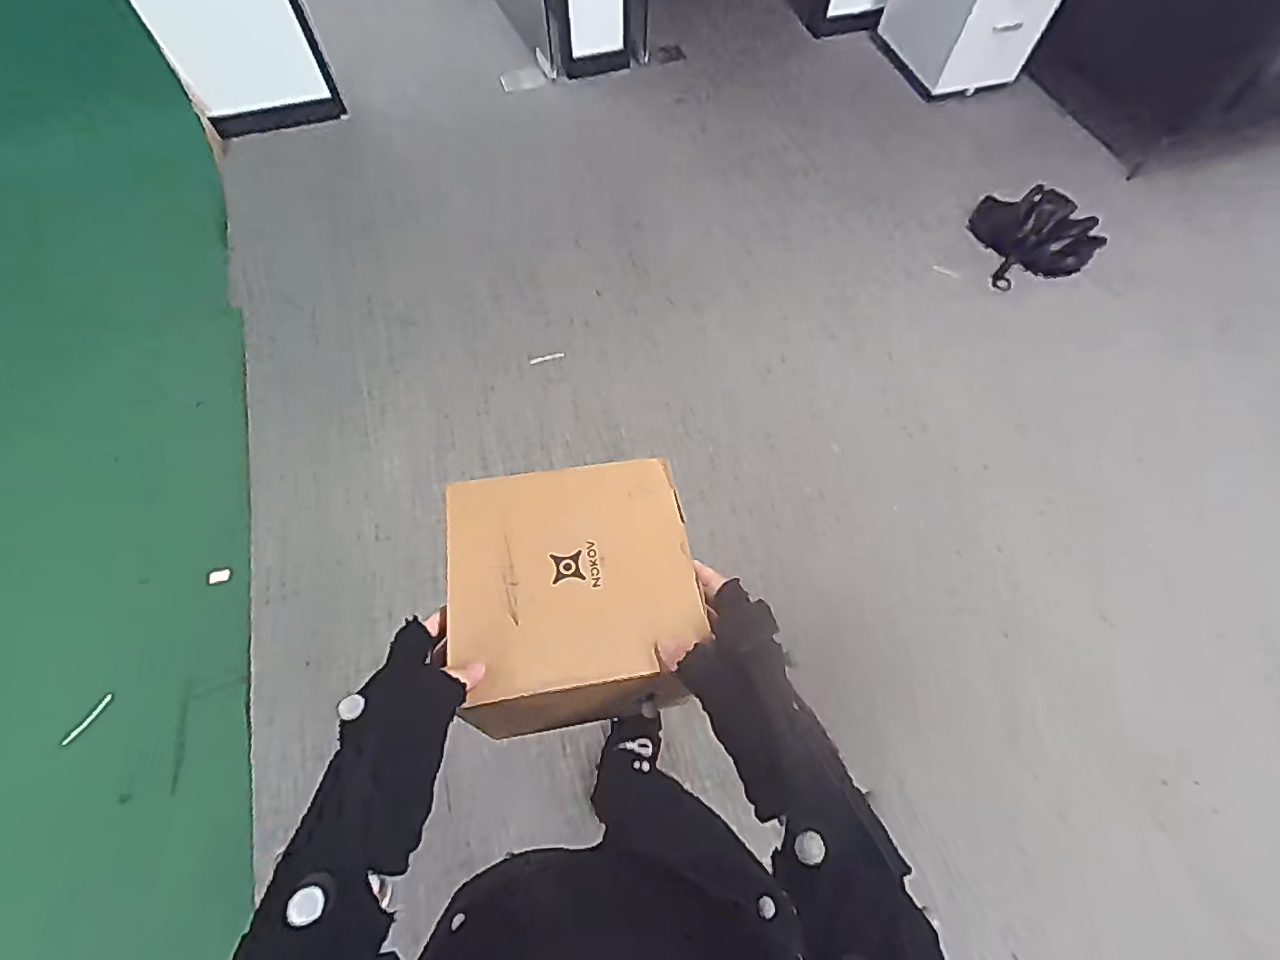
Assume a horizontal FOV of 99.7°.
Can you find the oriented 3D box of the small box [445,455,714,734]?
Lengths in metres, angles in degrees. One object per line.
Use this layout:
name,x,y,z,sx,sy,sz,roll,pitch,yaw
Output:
small box,-0.053,0.102,0.456,0.179,0.176,0.168,-10,58,-7
